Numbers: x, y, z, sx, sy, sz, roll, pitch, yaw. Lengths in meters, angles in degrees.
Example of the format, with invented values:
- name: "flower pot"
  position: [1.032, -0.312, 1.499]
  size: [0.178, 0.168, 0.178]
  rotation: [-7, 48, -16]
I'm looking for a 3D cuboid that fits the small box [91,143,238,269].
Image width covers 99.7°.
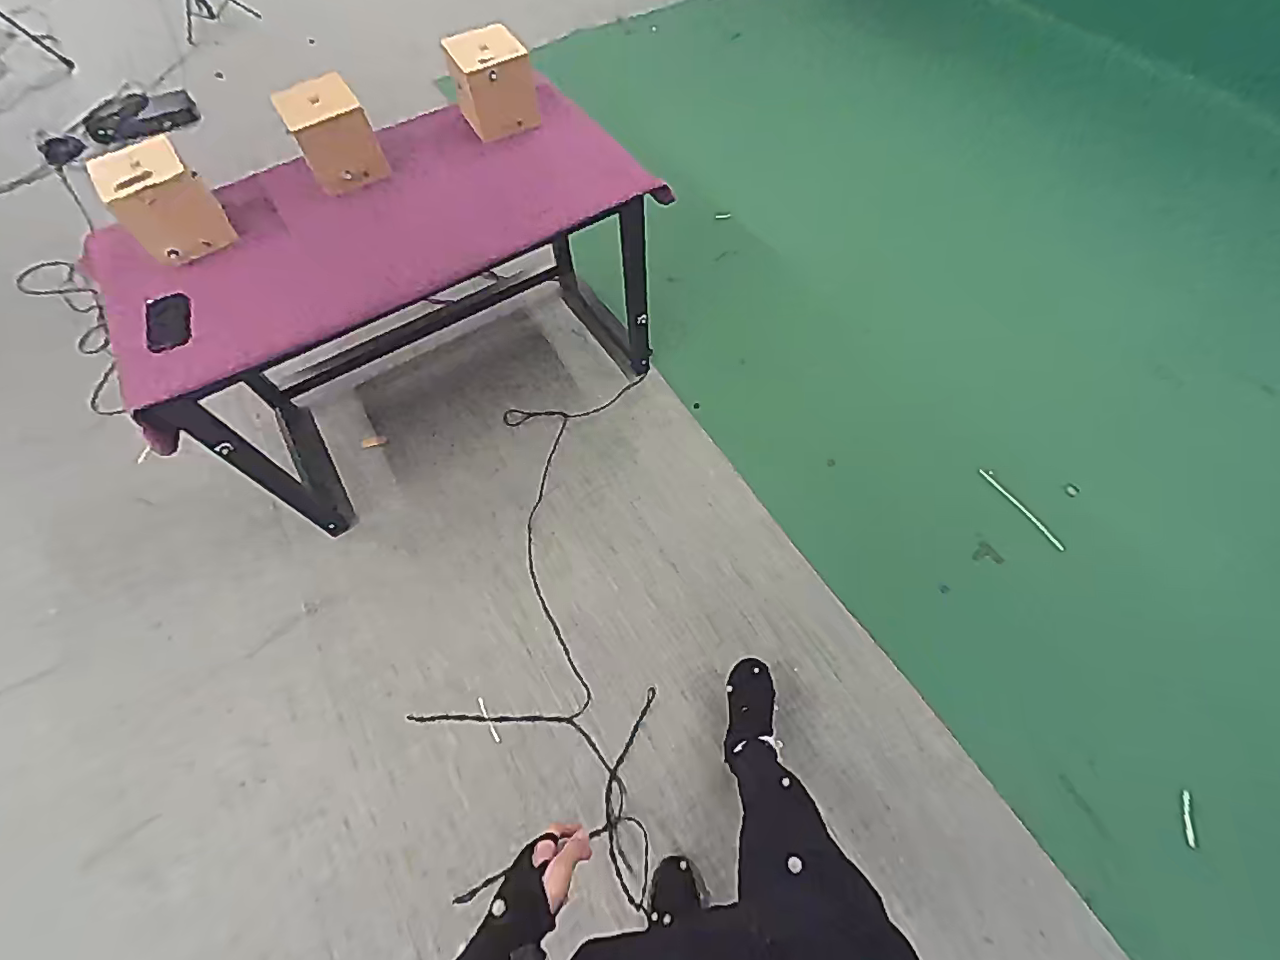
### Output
- name: "small box"
  position: [-1.046, -0.599, 1.202]
  size: [0.168, 0.176, 0.179]
  rotation: [-33, 65, -15]

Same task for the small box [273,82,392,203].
- name: "small box"
  position: [-0.734, -0.809, 1.304]
  size: [0.168, 0.176, 0.179]
  rotation: [-31, 66, -12]

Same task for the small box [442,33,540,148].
- name: "small box"
  position: [-0.376, -0.994, 1.386]
  size: [0.168, 0.176, 0.179]
  rotation: [-28, 64, -11]
